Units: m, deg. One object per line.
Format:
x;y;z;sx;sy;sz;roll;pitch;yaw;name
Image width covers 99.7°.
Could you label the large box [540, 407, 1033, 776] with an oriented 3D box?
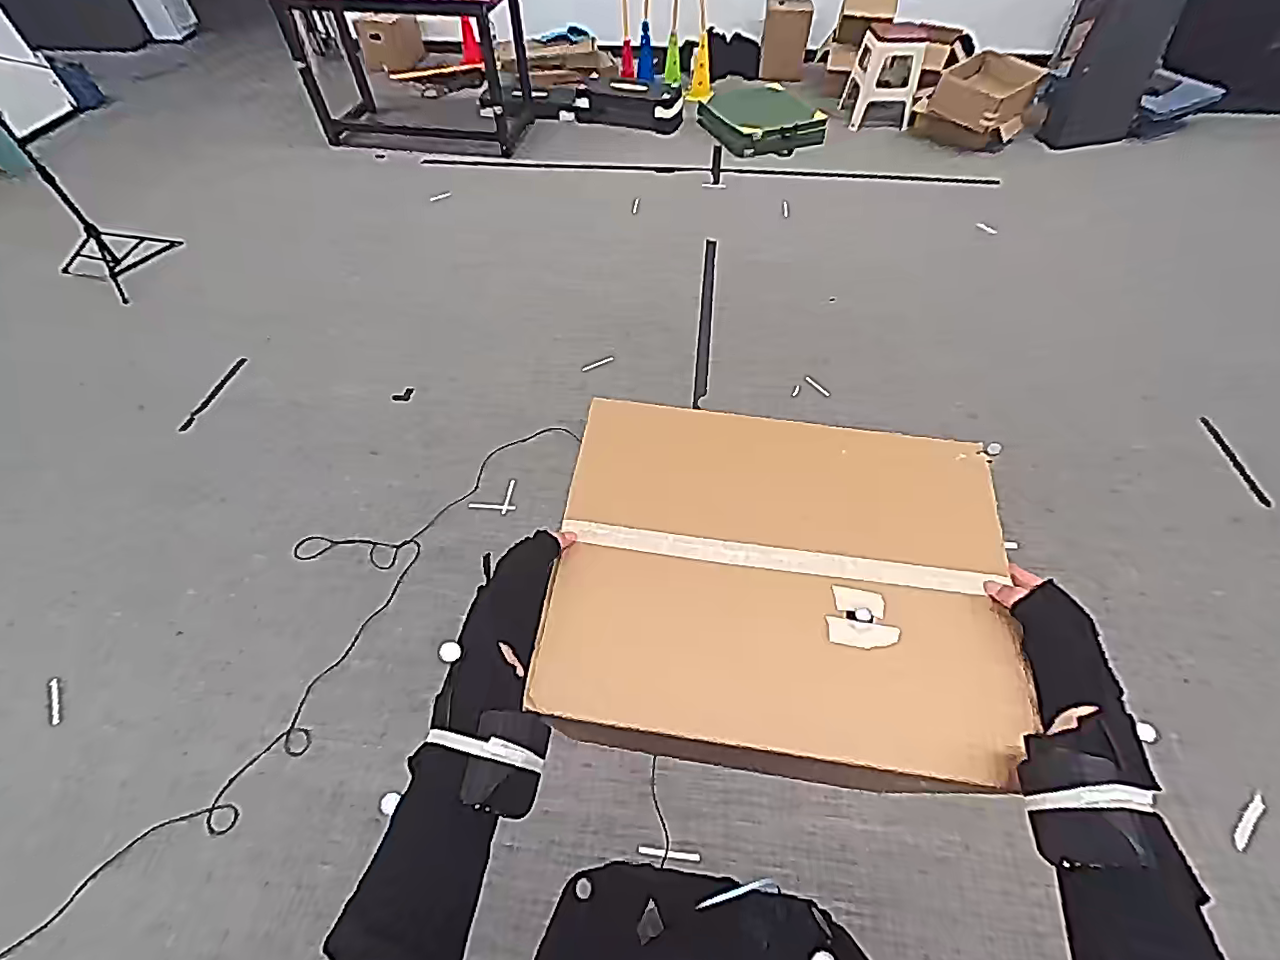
0.127;0.146;0.633;0.408;0.320;0.320;7;62;3;large box
